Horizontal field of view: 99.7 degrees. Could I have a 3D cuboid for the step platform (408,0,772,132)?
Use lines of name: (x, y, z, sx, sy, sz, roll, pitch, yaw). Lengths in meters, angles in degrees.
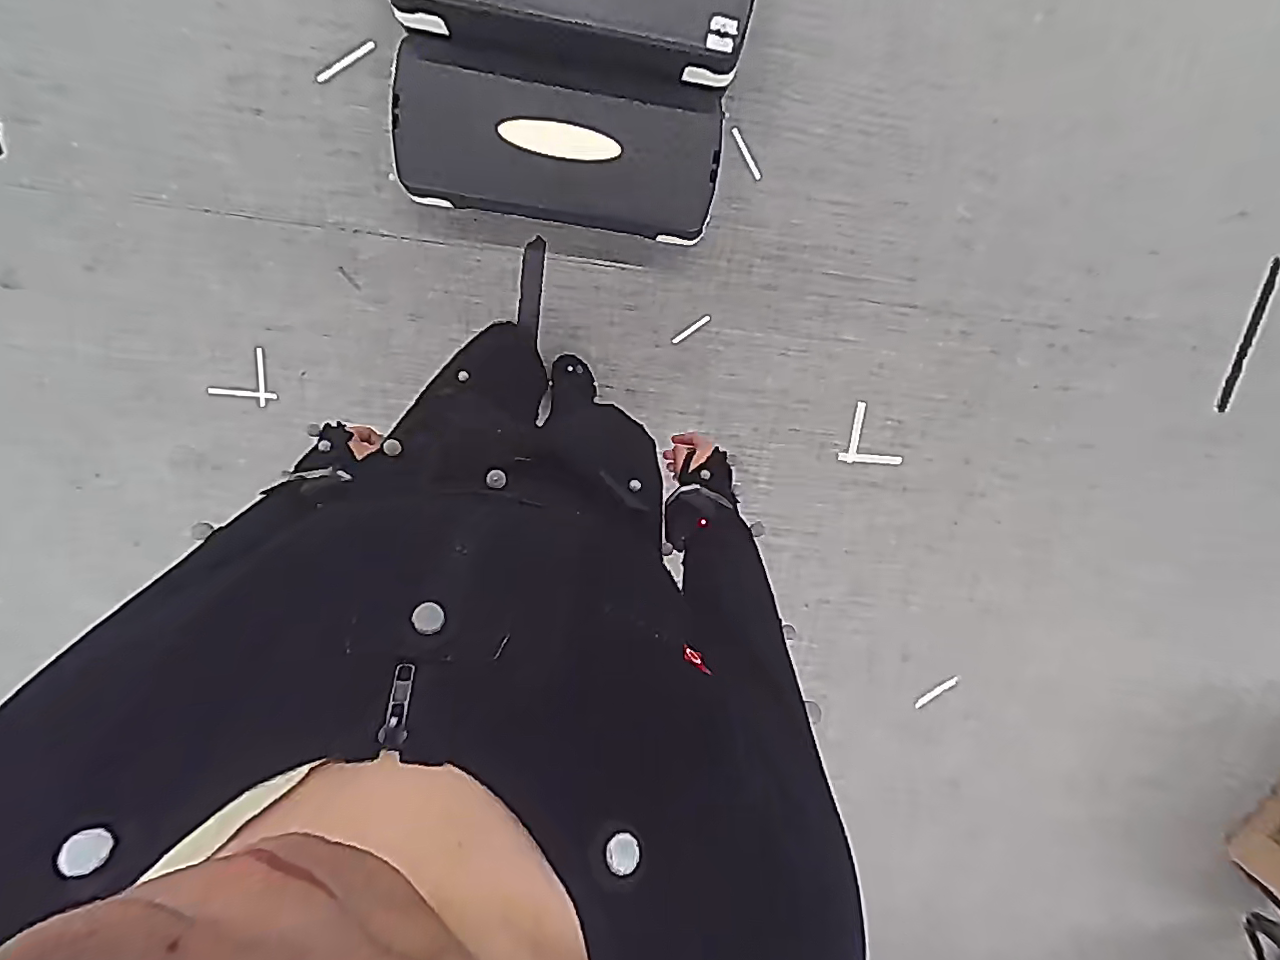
step platform: (-0.089, -0.934, 1.048, 0.684, 0.204, 0.286, 11, 103, -7)
